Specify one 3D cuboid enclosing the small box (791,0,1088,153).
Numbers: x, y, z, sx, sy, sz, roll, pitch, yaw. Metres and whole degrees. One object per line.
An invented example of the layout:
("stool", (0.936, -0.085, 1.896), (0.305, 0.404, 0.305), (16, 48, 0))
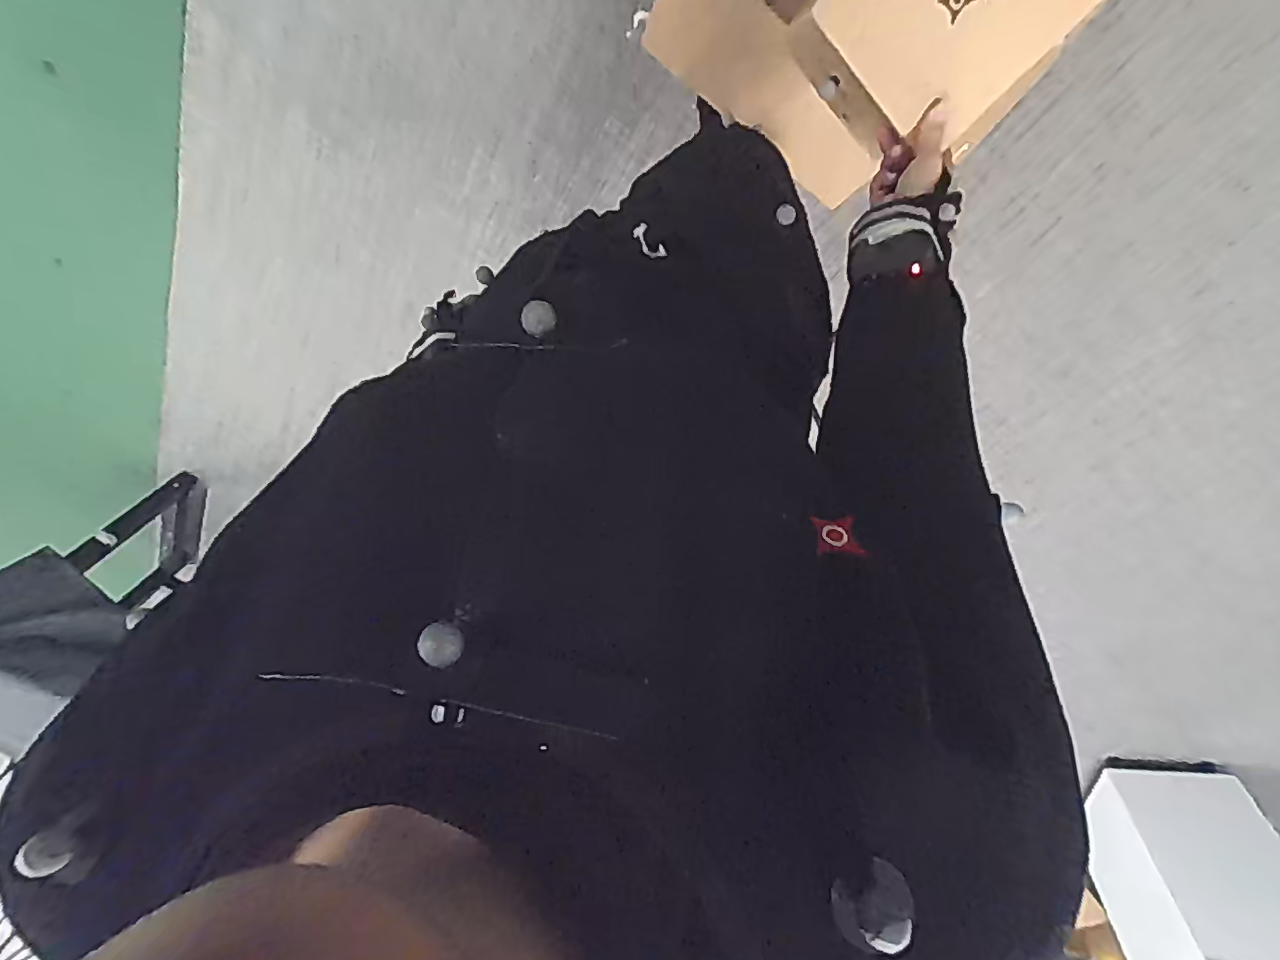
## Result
("small box", (0.256, -0.426, 0.487), (0.168, 0.176, 0.179), (39, 115, -17))
